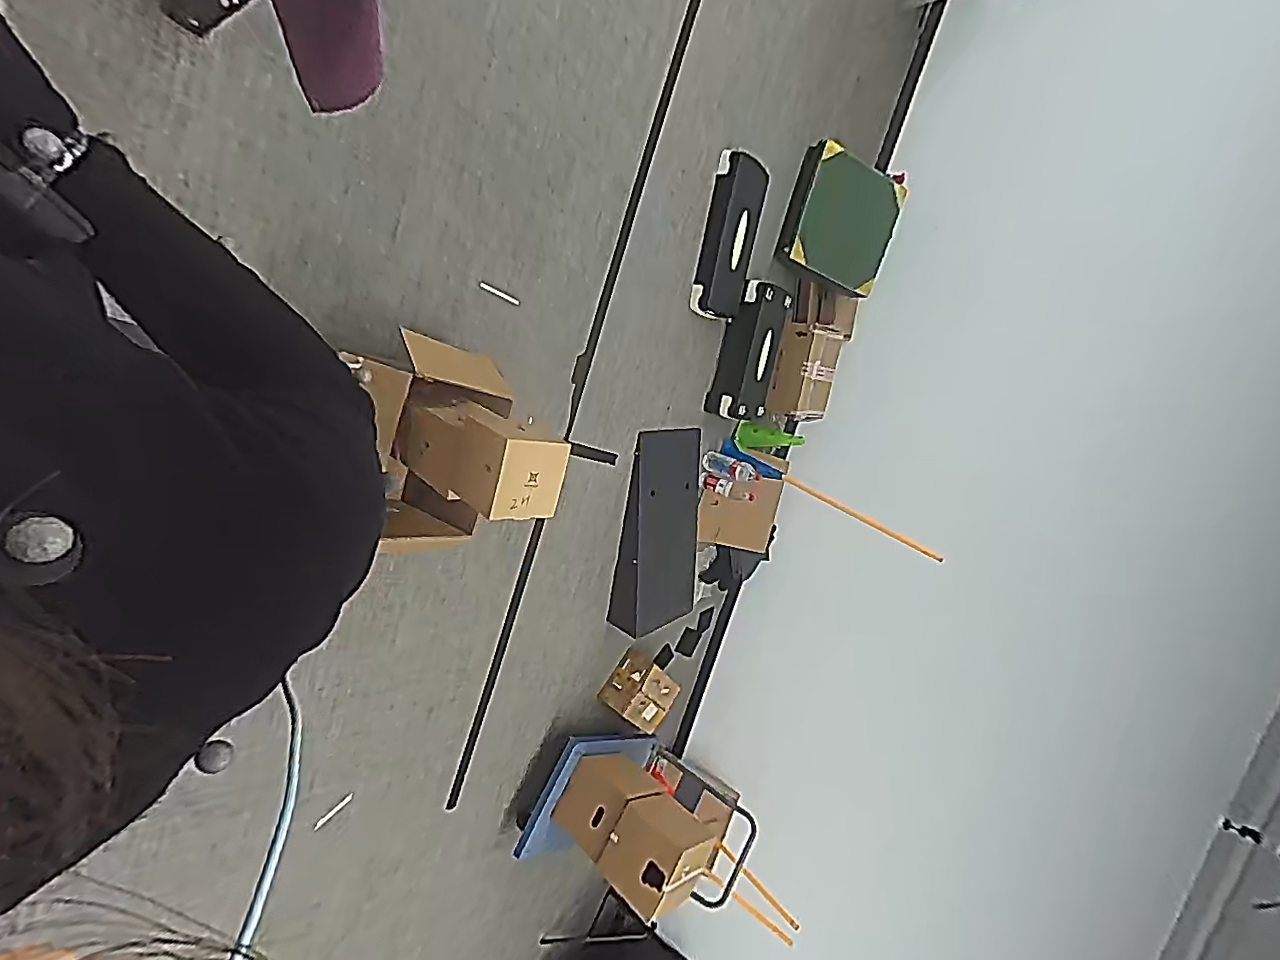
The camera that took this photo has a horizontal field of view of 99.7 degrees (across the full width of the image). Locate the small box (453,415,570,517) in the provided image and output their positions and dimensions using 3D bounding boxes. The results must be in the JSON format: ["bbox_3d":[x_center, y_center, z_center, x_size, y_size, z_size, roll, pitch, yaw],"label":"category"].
[{"bbox_3d":[-0.284,-0.033,1.173,0.168,0.176,0.179,2,110,-48],"label":"small box"}]

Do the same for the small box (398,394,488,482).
[{"bbox_3d":[-0.510,-0.118,1.398,0.168,0.176,0.179,-17,124,-43],"label":"small box"}]
